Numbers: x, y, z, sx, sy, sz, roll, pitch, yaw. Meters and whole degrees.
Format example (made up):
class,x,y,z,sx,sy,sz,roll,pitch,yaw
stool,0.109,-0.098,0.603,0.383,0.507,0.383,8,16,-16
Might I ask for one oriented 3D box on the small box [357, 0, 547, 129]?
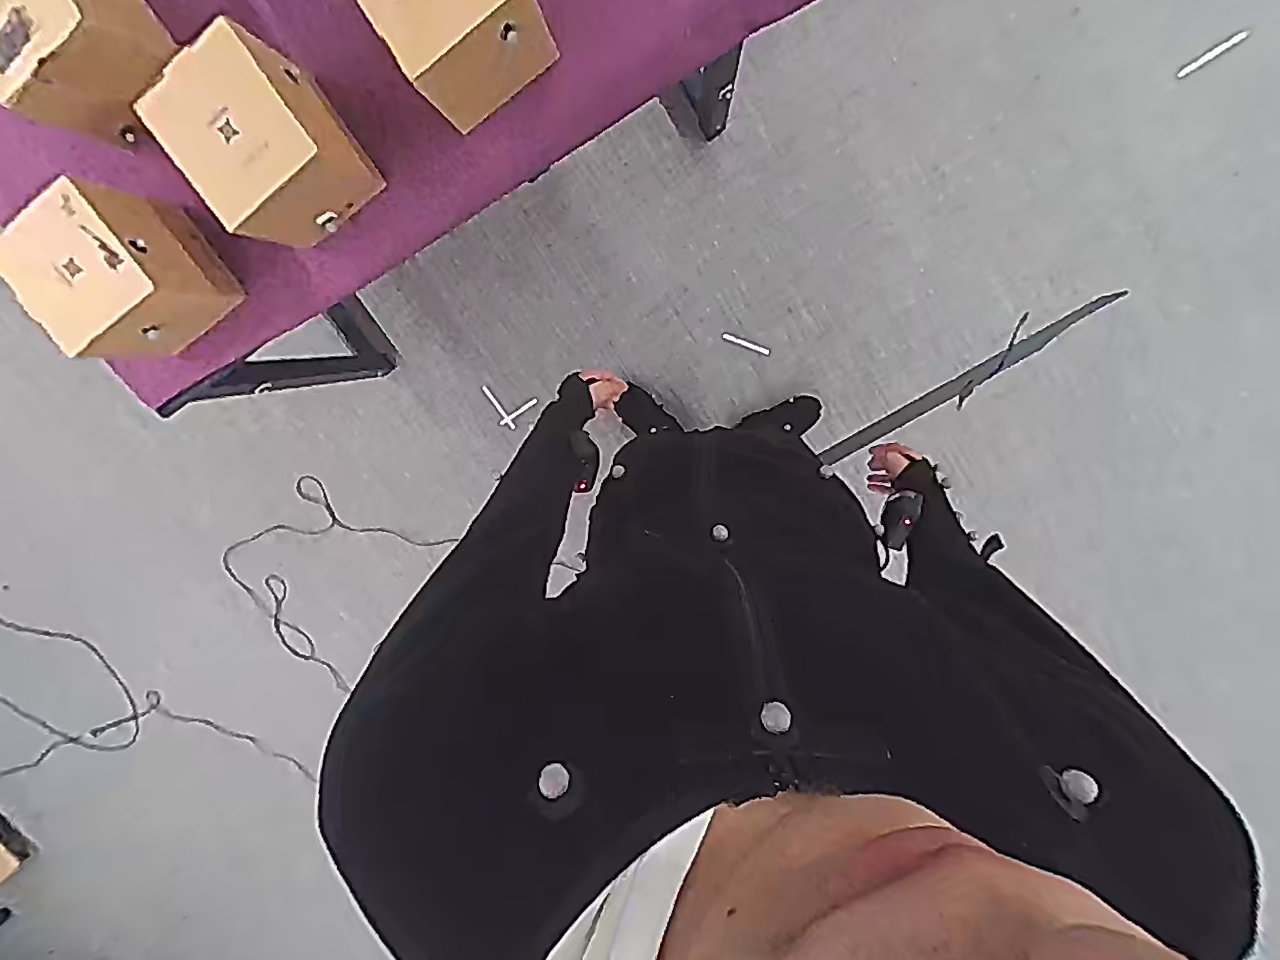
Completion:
class,x,y,z,sx,sy,sz,roll,pitch,yaw
small box,-0.236,-0.596,0.683,0.179,0.176,0.168,-31,100,11

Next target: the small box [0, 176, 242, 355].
class,x,y,z,sx,sy,sz,roll,pitch,yaw
small box,-0.750,-0.300,0.795,0.179,0.176,0.168,-31,101,11

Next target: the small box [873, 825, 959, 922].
class,x,y,z,sx,sy,sz,roll,pitch,yaw
small box,0.916,1.310,1.807,0.168,0.176,0.179,-31,98,10

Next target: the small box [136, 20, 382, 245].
class,x,y,z,sx,sy,sz,roll,pitch,yaw
small box,-0.503,-0.453,0.742,0.168,0.176,0.179,-32,102,12

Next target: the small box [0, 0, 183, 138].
class,x,y,z,sx,sy,sz,roll,pitch,yaw
small box,-0.765,-0.596,0.721,0.168,0.176,0.179,-32,100,11
